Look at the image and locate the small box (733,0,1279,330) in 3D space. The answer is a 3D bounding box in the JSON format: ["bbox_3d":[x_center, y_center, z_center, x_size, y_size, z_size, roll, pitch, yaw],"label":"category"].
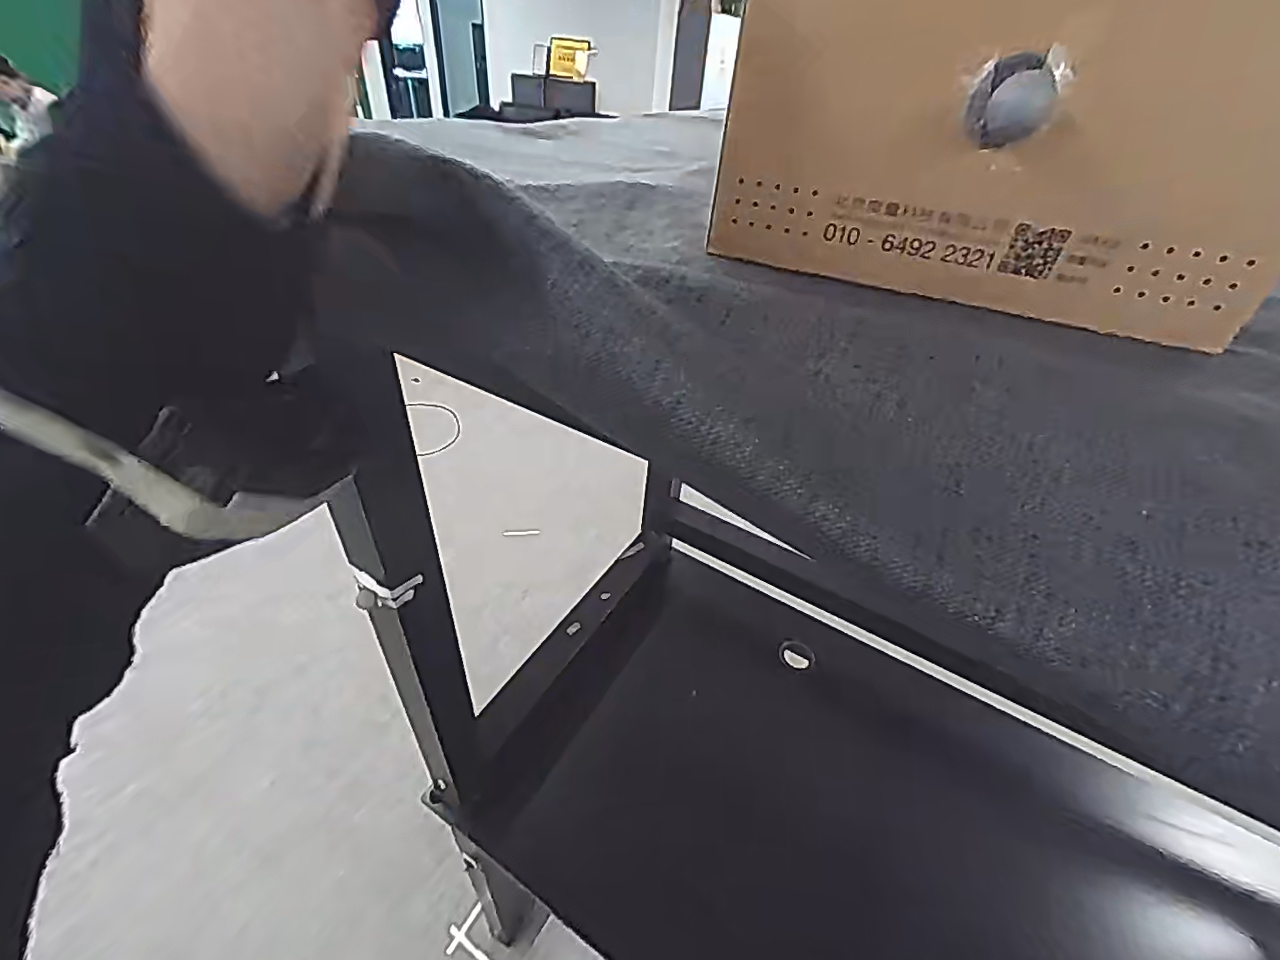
[{"bbox_3d":[0.142,-0.175,0.198,0.168,0.176,0.179,17,39,15],"label":"small box"}]
